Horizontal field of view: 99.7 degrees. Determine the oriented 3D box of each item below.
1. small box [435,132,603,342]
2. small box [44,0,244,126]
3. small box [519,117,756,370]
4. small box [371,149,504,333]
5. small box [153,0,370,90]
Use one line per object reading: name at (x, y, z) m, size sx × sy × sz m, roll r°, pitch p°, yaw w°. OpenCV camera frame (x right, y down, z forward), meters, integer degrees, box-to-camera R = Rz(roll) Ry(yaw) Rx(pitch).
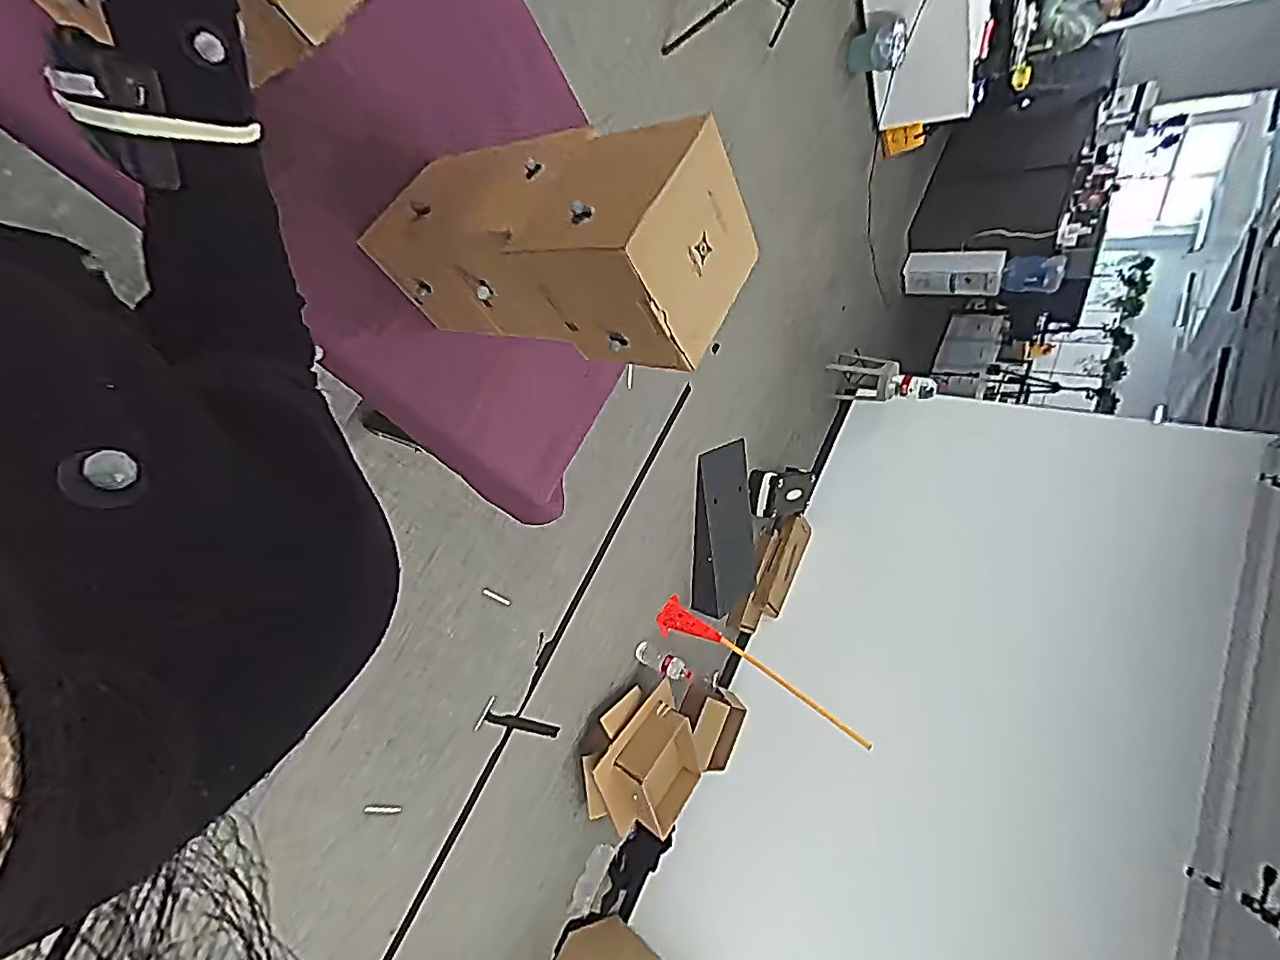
small box at (-0.119, -0.300, 0.684) m, size 0.179 × 0.176 × 0.168 m, roll -60°, pitch 141°, yaw -18°
small box at (-0.426, -0.465, 0.497) m, size 0.179 × 0.176 × 0.168 m, roll -62°, pitch 143°, yaw -18°
small box at (-0.003, -0.244, 0.584) m, size 0.179 × 0.176 × 0.168 m, roll -63°, pitch 143°, yaw -16°
small box at (-0.250, -0.334, 0.777) m, size 0.179 × 0.176 × 0.168 m, roll -60°, pitch 142°, yaw -19°
small box at (-0.295, -0.436, 0.402) m, size 0.168 × 0.176 × 0.179 m, roll 46°, pitch 66°, yaw -51°
